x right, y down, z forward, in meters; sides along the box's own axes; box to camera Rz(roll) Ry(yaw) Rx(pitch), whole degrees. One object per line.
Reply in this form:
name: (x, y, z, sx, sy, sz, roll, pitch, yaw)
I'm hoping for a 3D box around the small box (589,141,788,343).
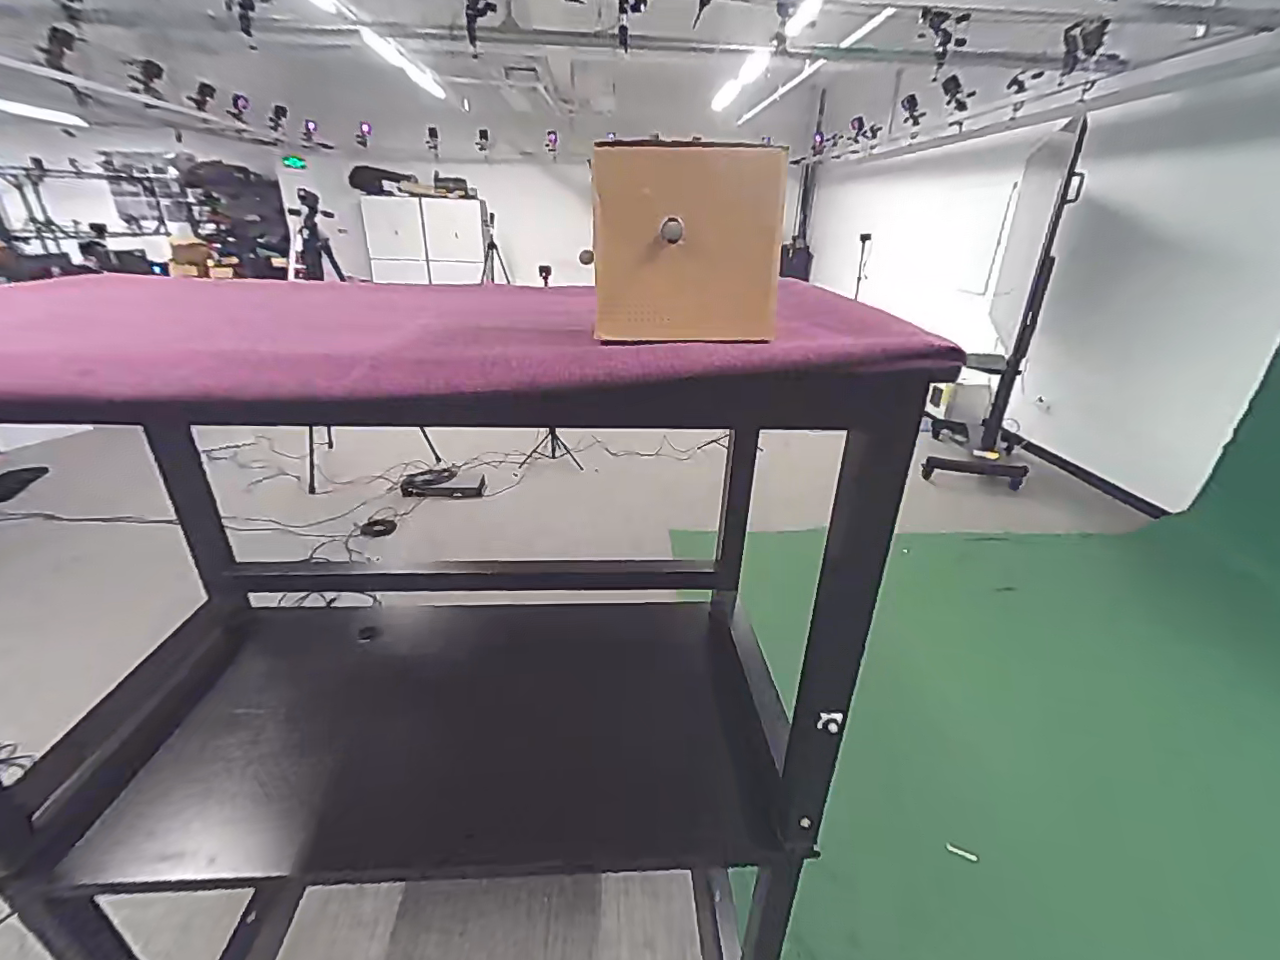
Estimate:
small box: (0.042, -0.239, 0.566, 0.179, 0.176, 0.168, -1, 23, -2)
